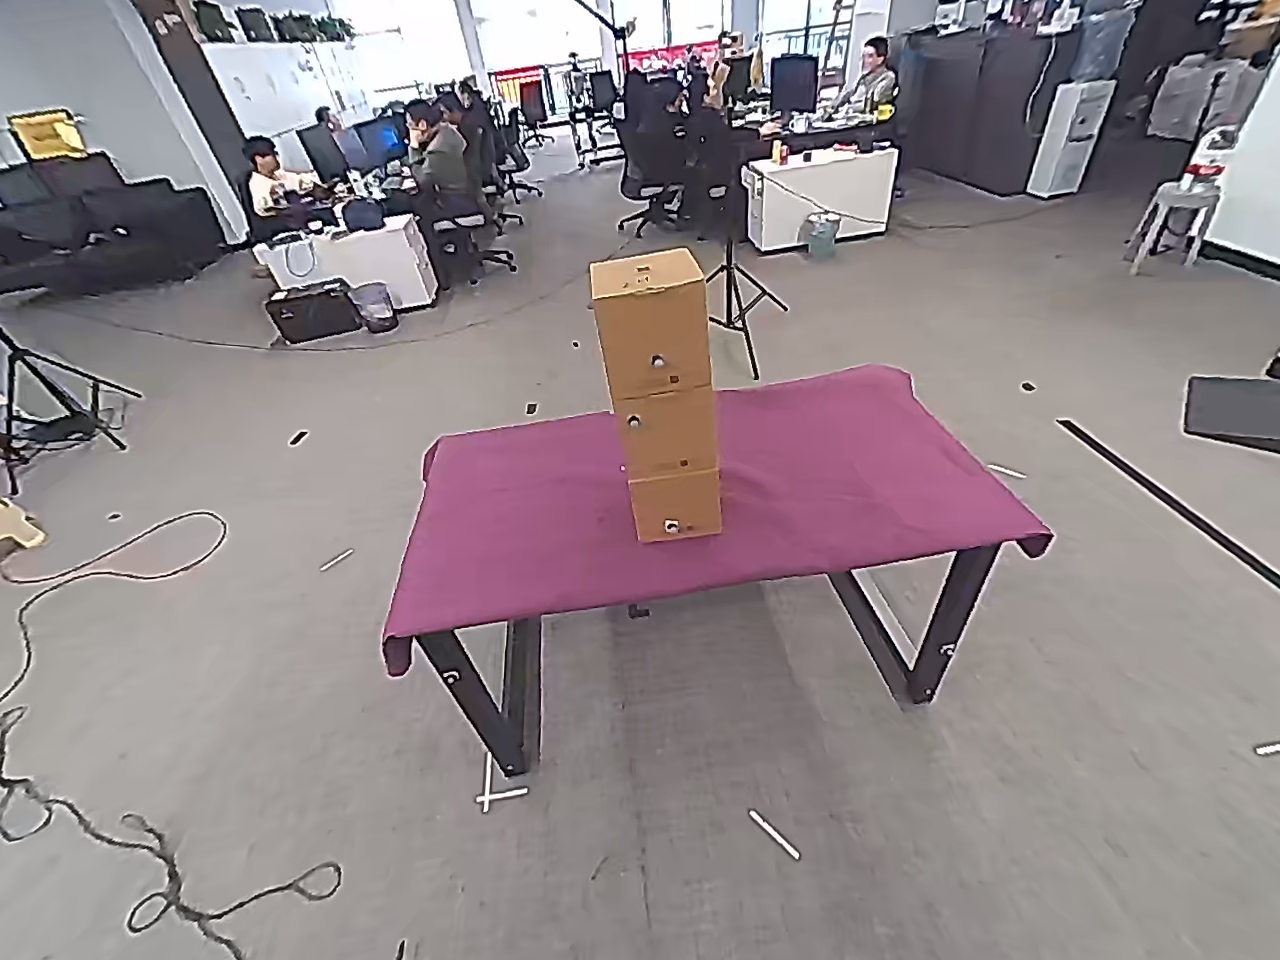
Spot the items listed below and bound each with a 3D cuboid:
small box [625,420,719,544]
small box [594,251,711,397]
[{"bbox_3d":[0.063,0.003,1.085,0.168,0.176,0.179,-9,40,1],"label":"small box"},{"bbox_3d":[0.018,-0.256,0.886,0.168,0.176,0.179,-10,38,1],"label":"small box"}]
